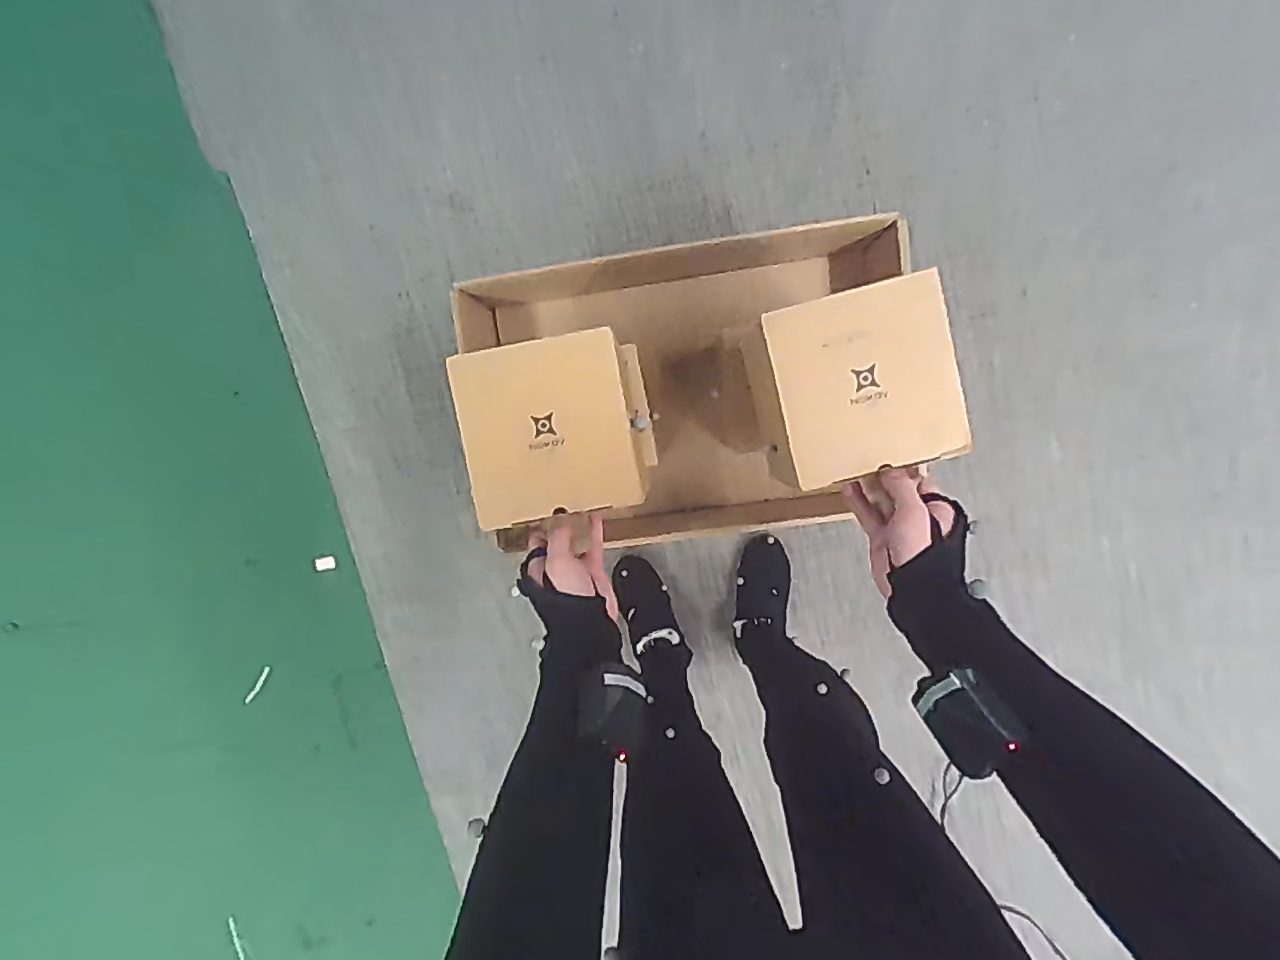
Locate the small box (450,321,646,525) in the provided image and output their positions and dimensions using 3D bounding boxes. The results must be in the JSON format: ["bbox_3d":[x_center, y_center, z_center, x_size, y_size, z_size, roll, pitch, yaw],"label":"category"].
[{"bbox_3d":[-0.087,-0.058,0.599,0.168,0.176,0.179,-10,94,3],"label":"small box"}]

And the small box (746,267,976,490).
[{"bbox_3d":[0.217,-0.098,0.575,0.168,0.176,0.179,-13,94,5],"label":"small box"}]

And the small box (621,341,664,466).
[{"bbox_3d":[-0.065,-0.096,0.791,0.179,0.176,0.168,-9,96,6],"label":"small box"}]
